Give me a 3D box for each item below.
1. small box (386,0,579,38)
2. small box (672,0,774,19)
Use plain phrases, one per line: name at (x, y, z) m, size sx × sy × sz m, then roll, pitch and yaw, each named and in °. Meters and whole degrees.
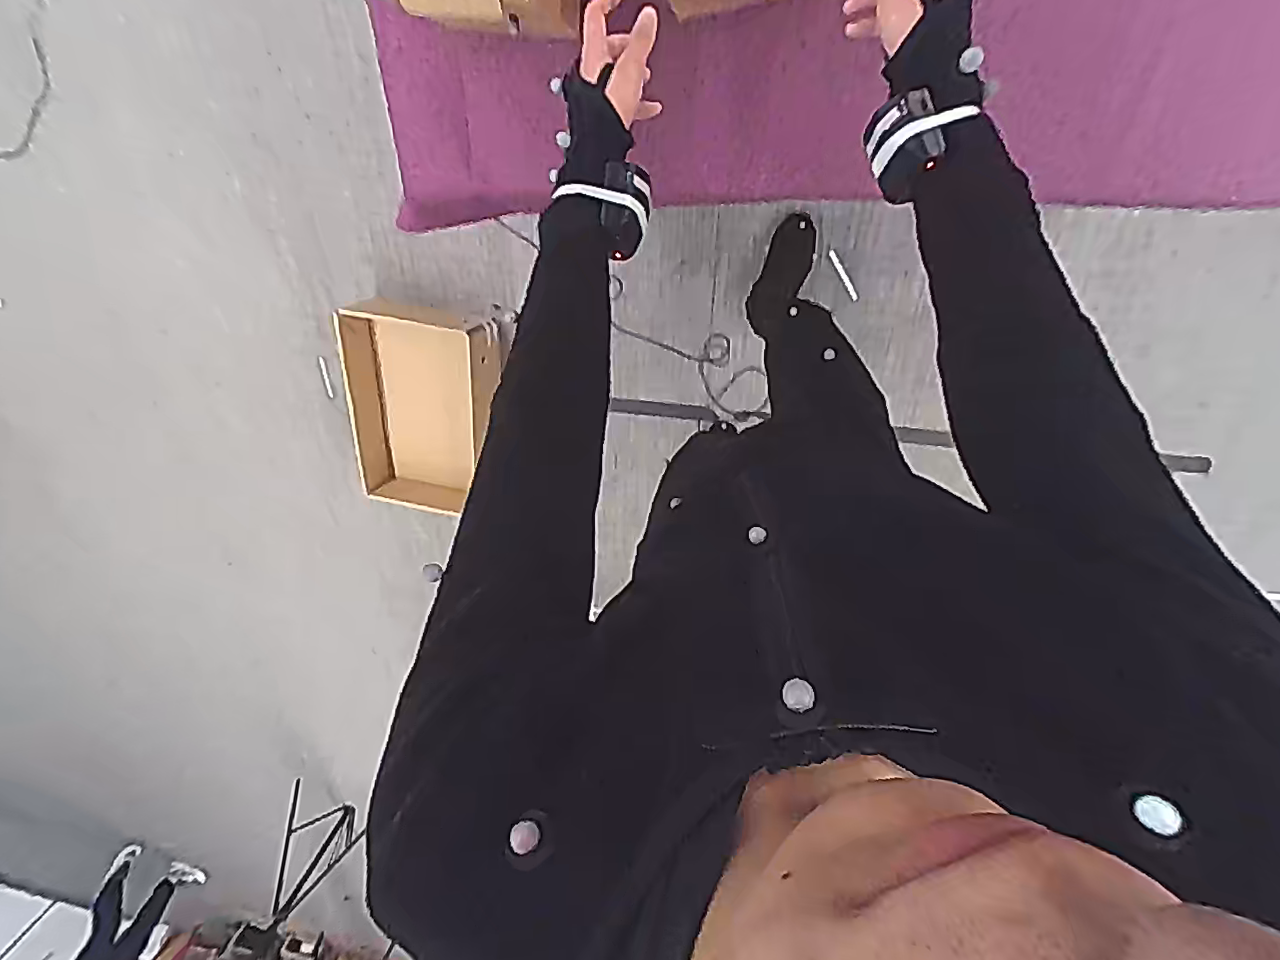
small box at (-0.156, -0.563, 0.531) m, size 0.168 × 0.176 × 0.179 m, roll 9°, pitch 120°, yaw 6°
small box at (0.099, -0.548, 0.482) m, size 0.179 × 0.176 × 0.168 m, roll -2°, pitch 119°, yaw 13°
